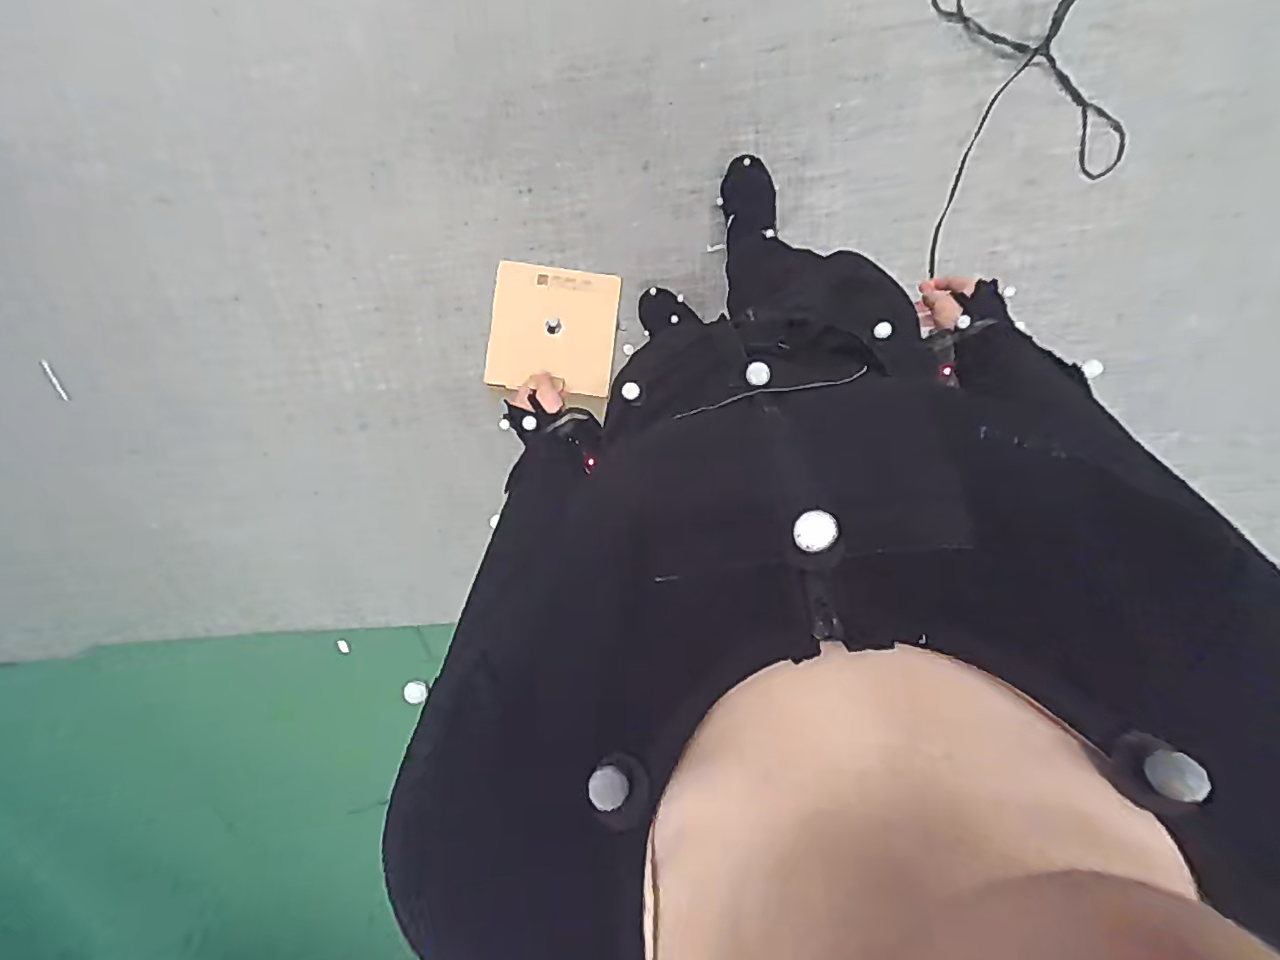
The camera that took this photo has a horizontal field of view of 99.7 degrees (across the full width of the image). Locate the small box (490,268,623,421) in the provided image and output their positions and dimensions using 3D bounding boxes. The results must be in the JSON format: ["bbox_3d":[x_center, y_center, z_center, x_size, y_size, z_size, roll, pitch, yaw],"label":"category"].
[{"bbox_3d":[-0.117,-0.191,0.797,0.168,0.179,0.176,6,85,-5],"label":"small box"}]
